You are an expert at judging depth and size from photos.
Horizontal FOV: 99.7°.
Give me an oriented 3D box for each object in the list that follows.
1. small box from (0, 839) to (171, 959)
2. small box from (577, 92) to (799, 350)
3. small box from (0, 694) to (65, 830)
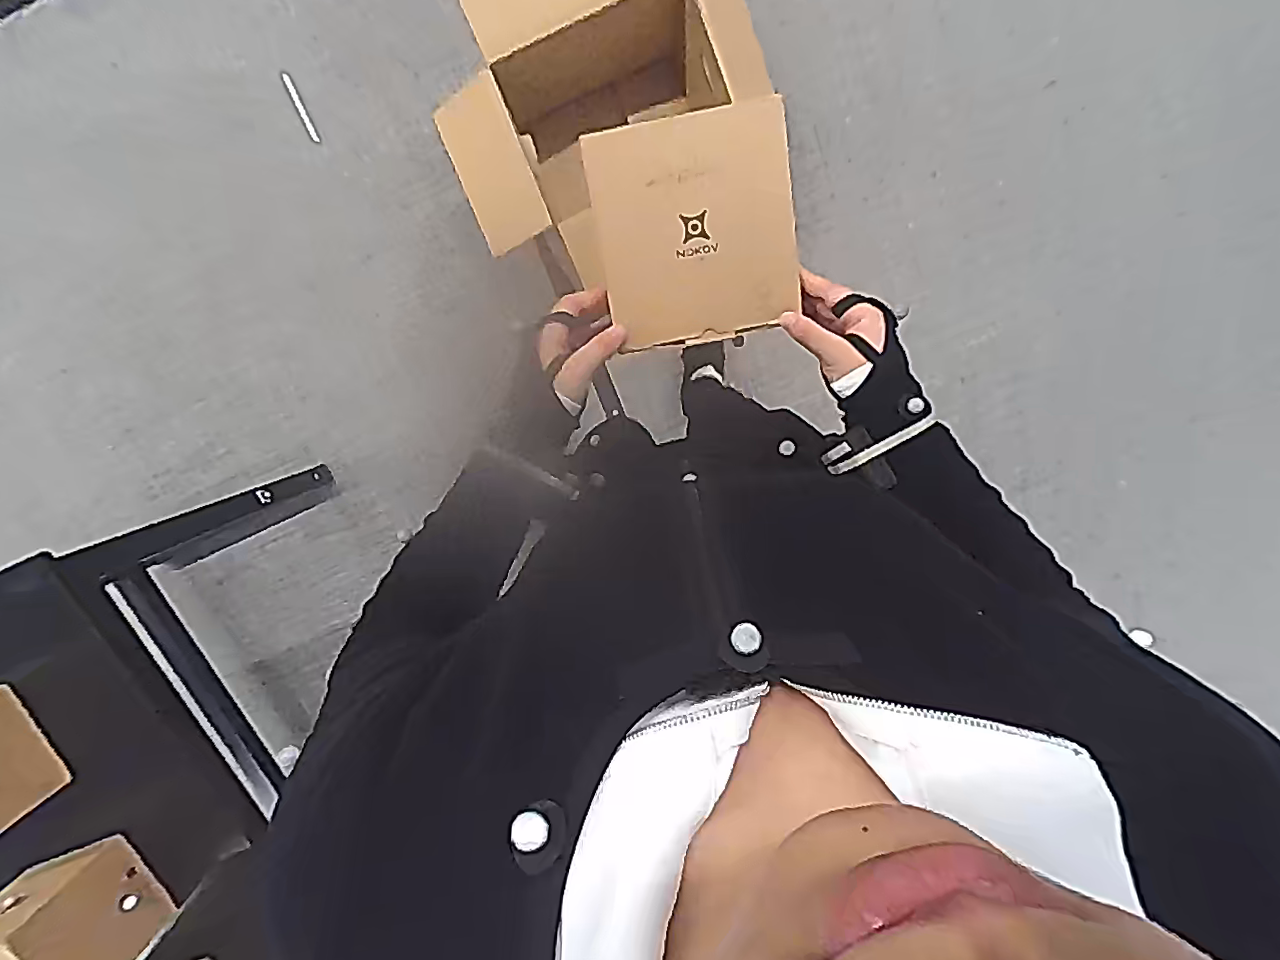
[{"bbox_3d":[-0.860,0.676,0.788,0.179,0.176,0.168,-23,102,4],"label":"small box"},{"bbox_3d":[0.045,-0.231,0.528,0.168,0.176,0.179,-11,104,3],"label":"small box"},{"bbox_3d":[-0.967,0.422,0.731,0.168,0.176,0.179,-20,103,4],"label":"small box"}]
